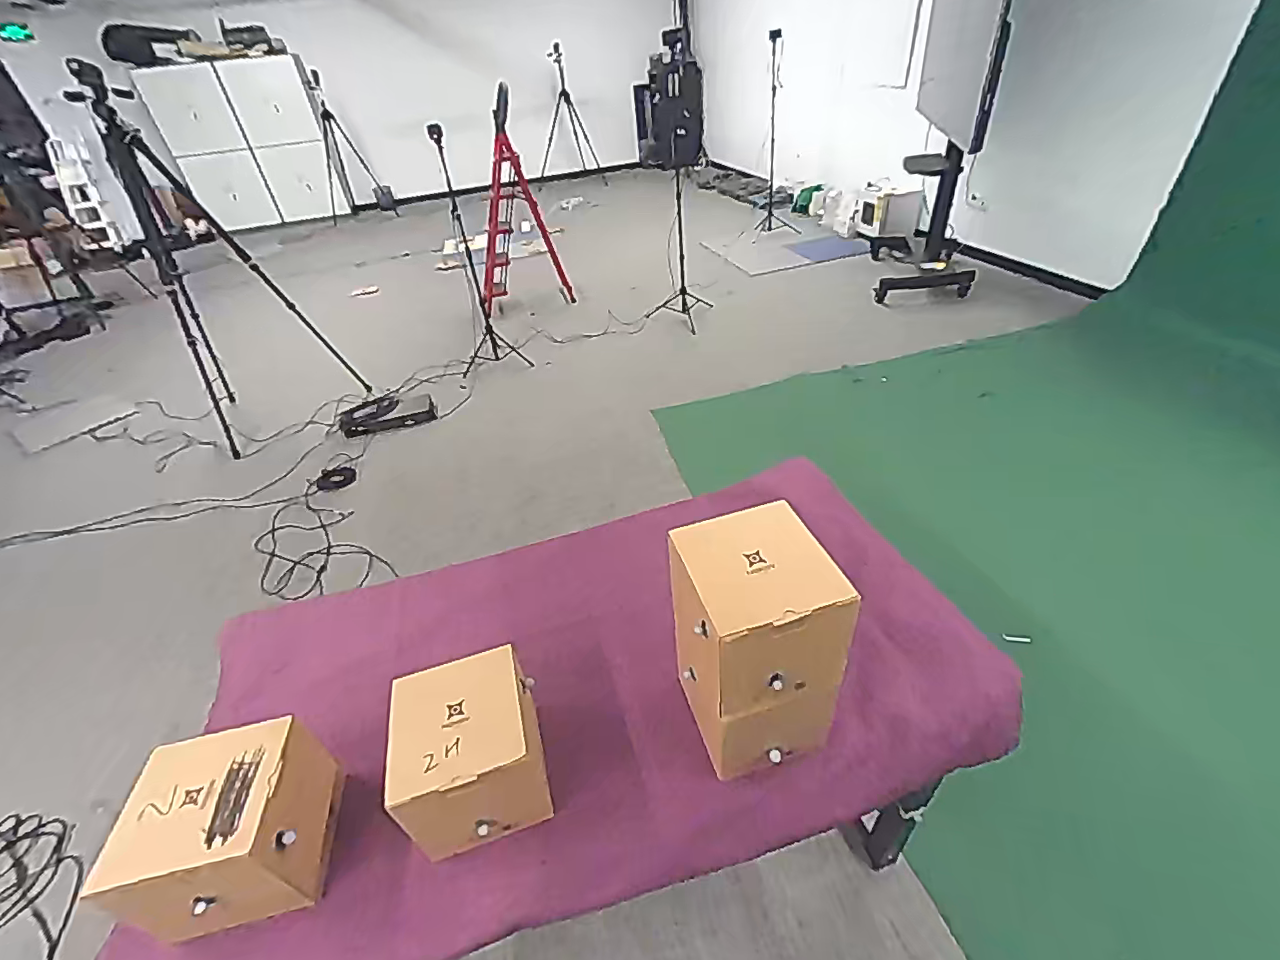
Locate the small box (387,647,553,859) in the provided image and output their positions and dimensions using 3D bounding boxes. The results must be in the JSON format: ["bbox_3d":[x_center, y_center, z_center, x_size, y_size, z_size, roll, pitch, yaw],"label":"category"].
[{"bbox_3d":[-0.225,0.367,0.736,0.168,0.176,0.179,-15,38,-10],"label":"small box"}]

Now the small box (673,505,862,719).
[{"bbox_3d":[0.147,0.162,0.683,0.168,0.176,0.179,-14,39,-10],"label":"small box"}]

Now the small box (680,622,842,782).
[{"bbox_3d":[0.161,0.293,0.779,0.168,0.176,0.179,-14,39,-9],"label":"small box"}]
